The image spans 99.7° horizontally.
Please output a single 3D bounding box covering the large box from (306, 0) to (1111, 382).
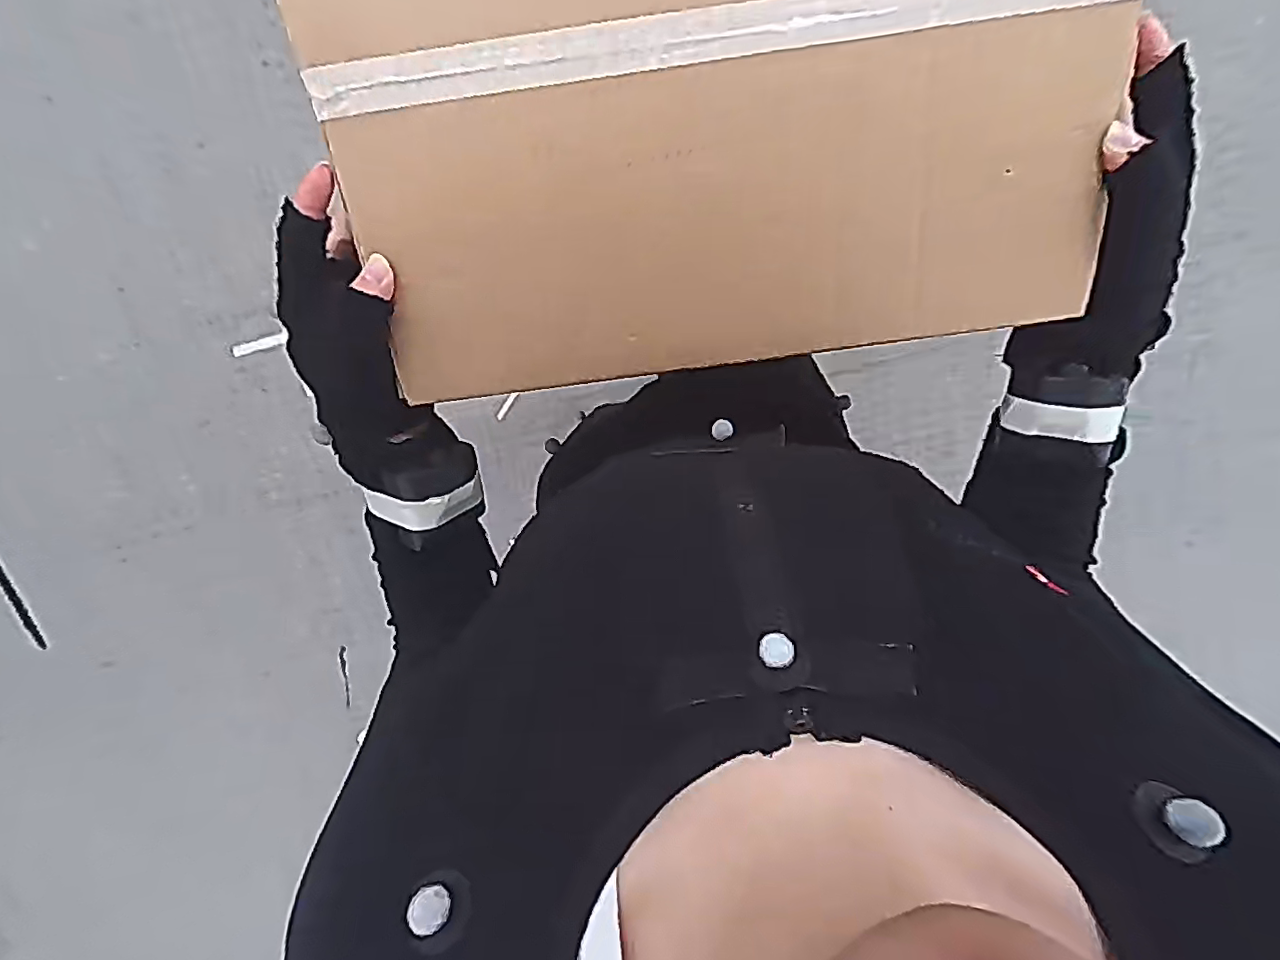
[{"bbox_3d":[0.032,-0.282,0.410,0.408,0.320,0.320,-8,113,1],"label":"large box"}]
